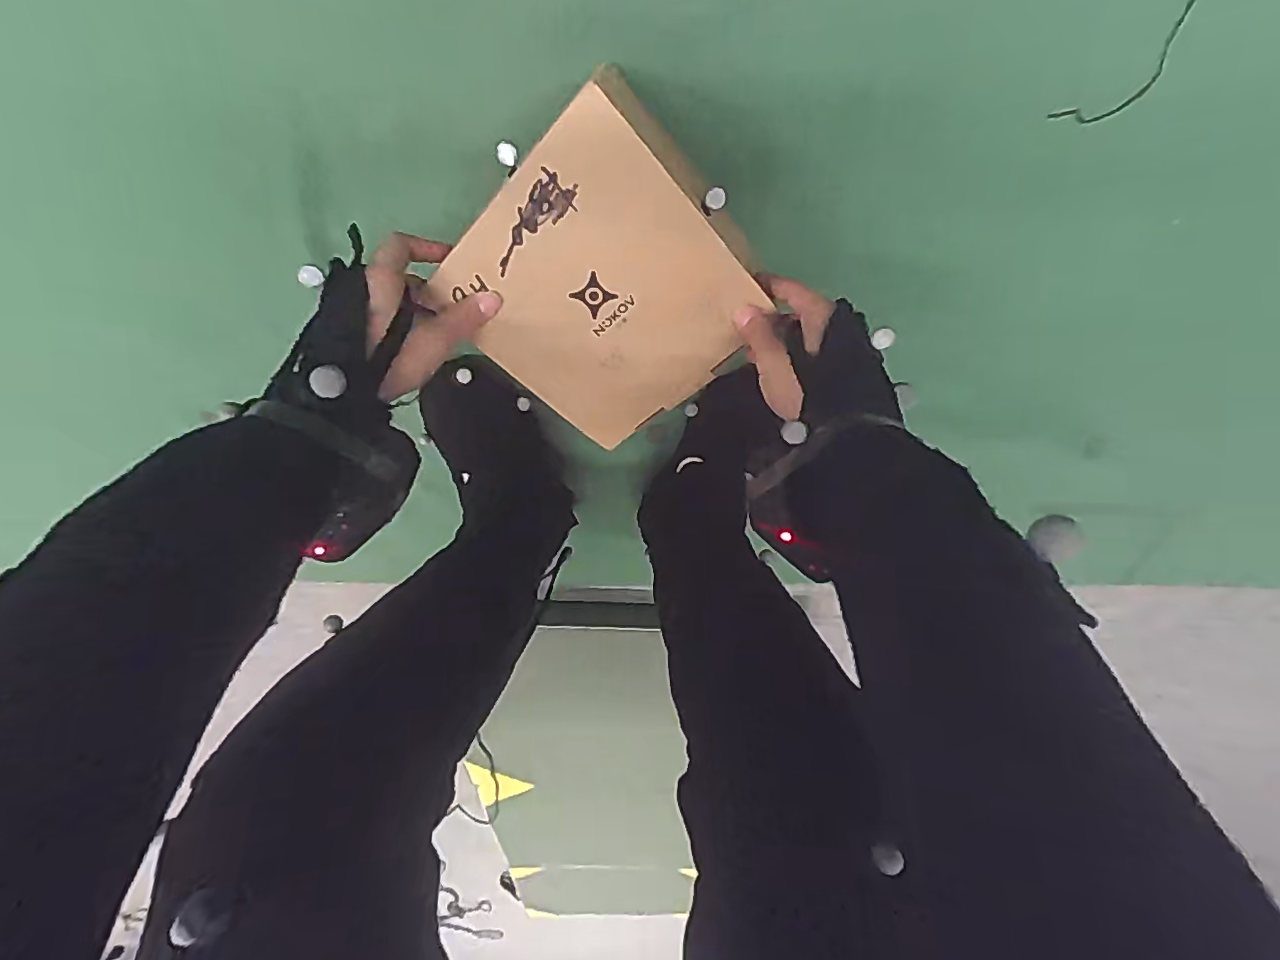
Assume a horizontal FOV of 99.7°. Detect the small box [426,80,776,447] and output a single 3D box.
[{"bbox_3d":[-0.023,-0.165,0.416,0.168,0.176,0.179,-35,123,26],"label":"small box"}]
